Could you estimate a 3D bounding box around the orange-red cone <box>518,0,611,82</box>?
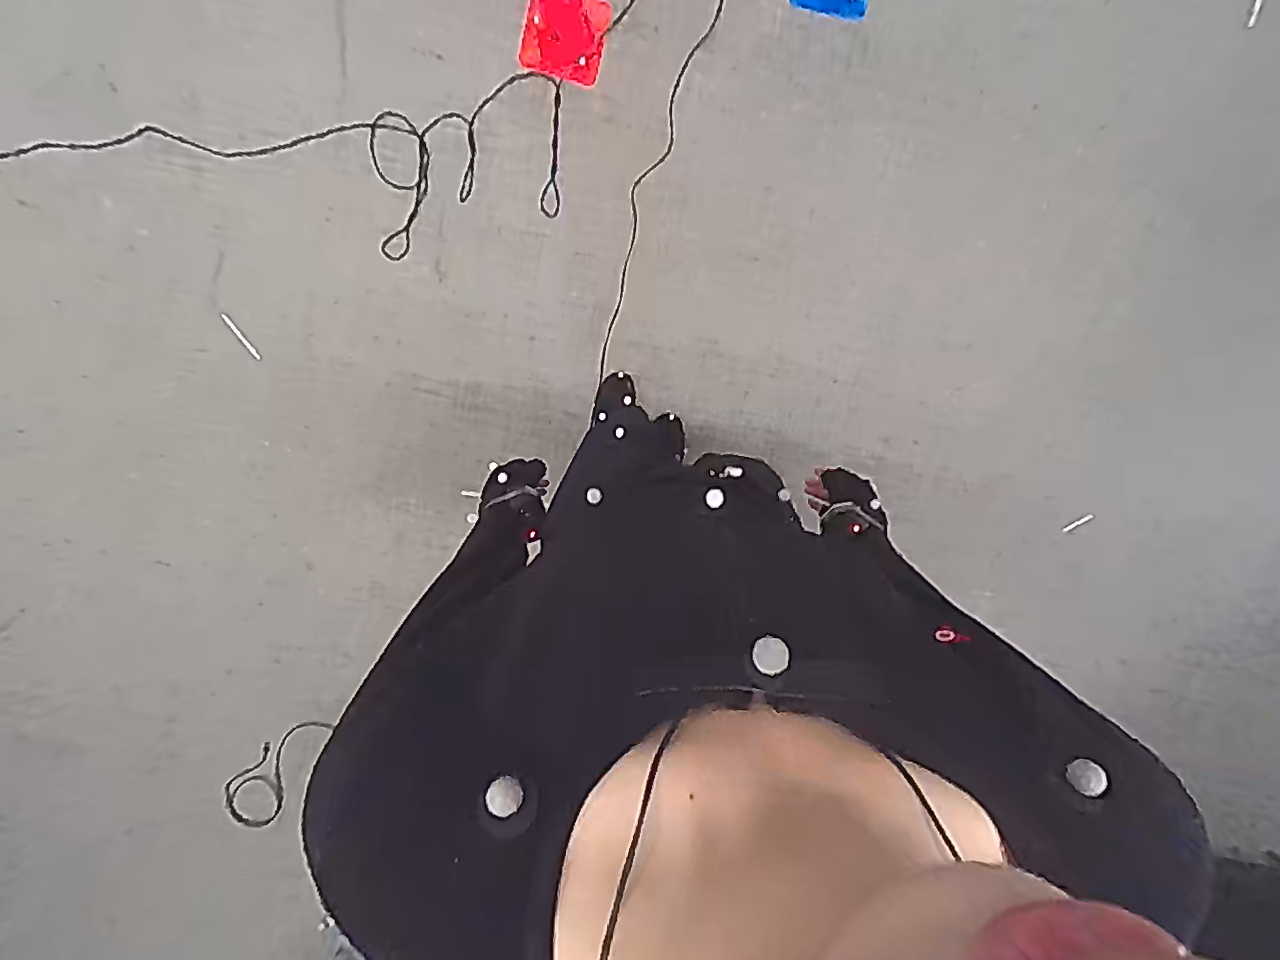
[{"bbox_3d":[-0.175,-1.084,1.159,0.198,0.360,0.199,15,96,-5],"label":"orange-red cone"}]
